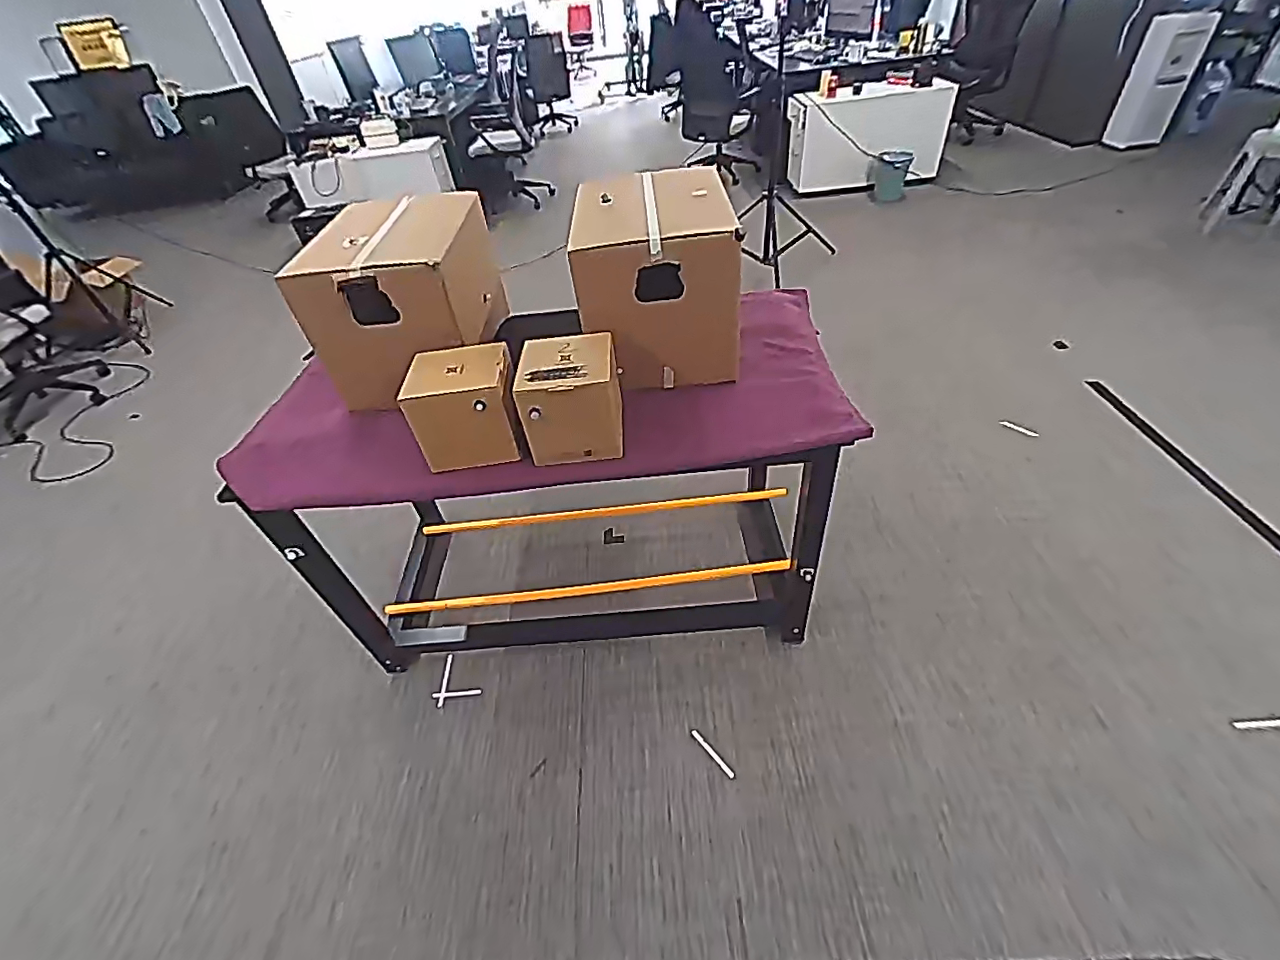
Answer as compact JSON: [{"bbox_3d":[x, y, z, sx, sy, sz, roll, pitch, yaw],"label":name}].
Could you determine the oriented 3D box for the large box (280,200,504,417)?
[{"bbox_3d":[-0.515,-0.397,1.234,0.320,0.320,0.408,-6,46,2],"label":"large box"}]
